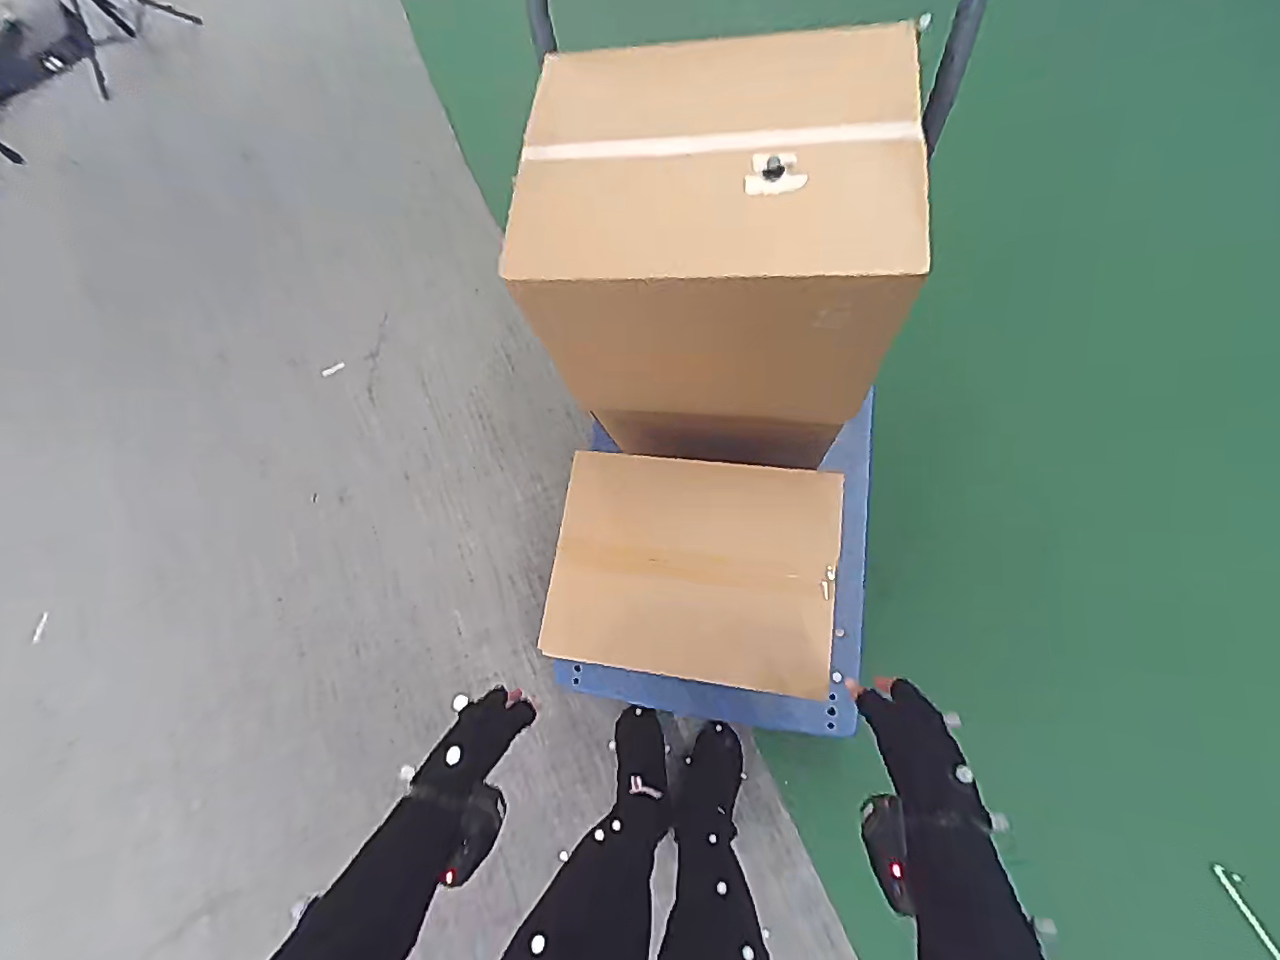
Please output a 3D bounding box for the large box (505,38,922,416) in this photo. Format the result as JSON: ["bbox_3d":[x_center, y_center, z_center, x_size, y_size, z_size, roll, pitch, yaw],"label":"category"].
[{"bbox_3d":[0.091,-0.288,0.698,0.408,0.320,0.320,4,73,10],"label":"large box"}]
